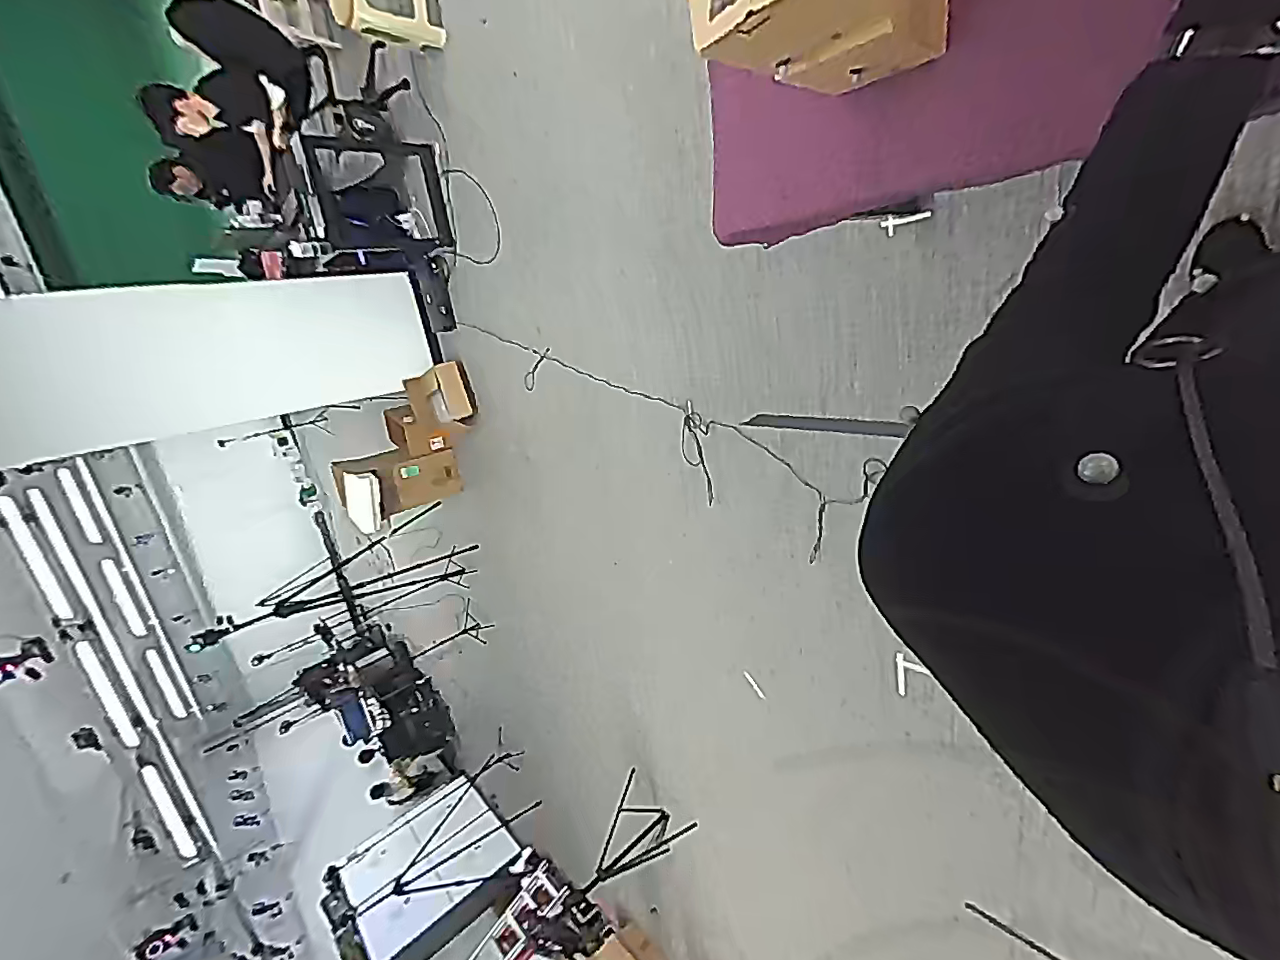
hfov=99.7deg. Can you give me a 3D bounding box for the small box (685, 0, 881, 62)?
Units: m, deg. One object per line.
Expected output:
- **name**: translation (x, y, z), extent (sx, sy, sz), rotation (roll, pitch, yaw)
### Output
- **small box**: translation (0.162, -0.614, 0.617), extent (0.168, 0.176, 0.179), rotation (9, 114, 48)

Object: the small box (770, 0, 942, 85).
- **small box**: translation (0.287, -0.652, 0.718), extent (0.168, 0.176, 0.179), rotation (15, 119, 45)
